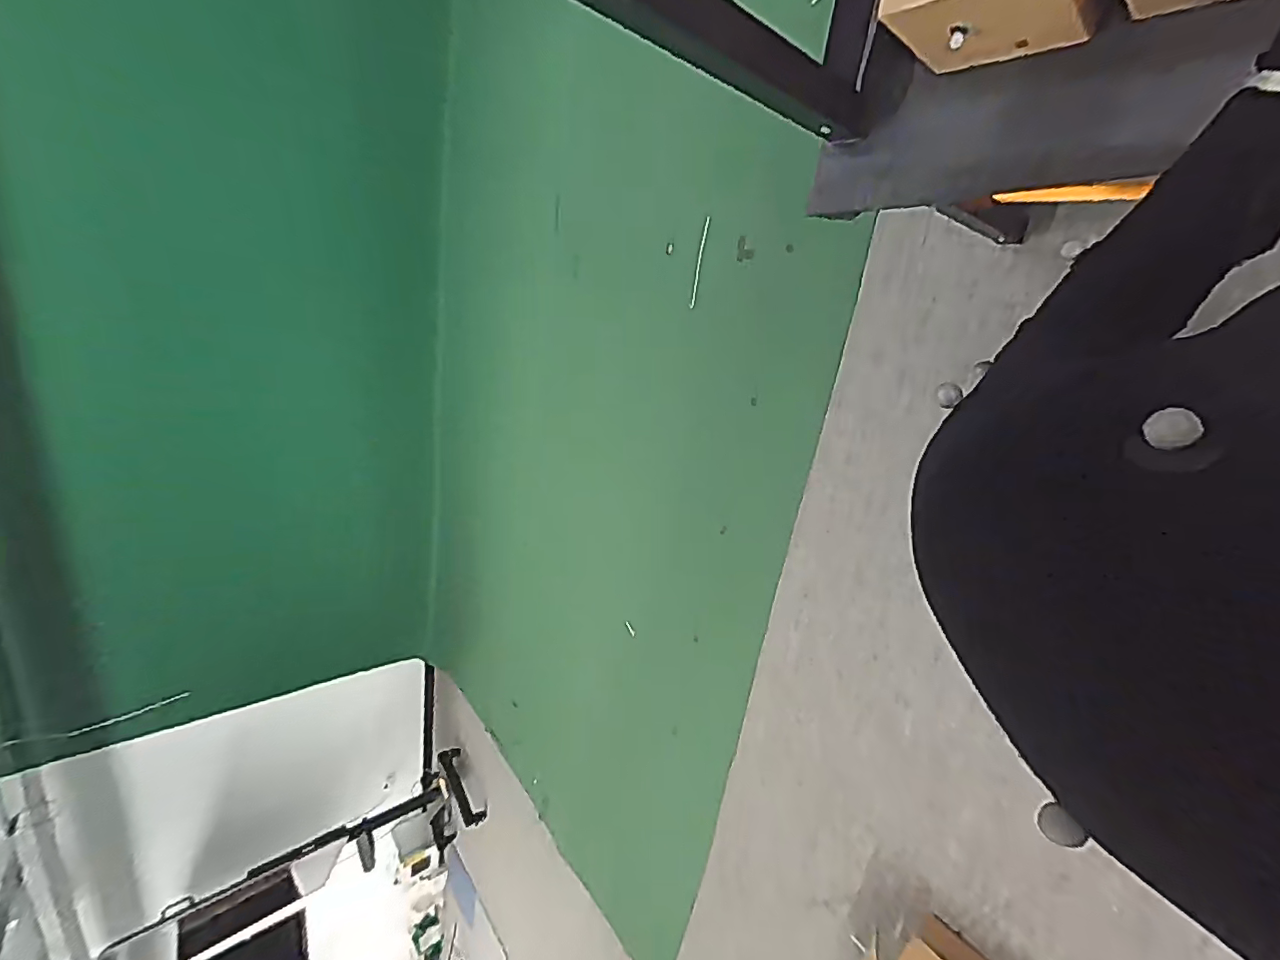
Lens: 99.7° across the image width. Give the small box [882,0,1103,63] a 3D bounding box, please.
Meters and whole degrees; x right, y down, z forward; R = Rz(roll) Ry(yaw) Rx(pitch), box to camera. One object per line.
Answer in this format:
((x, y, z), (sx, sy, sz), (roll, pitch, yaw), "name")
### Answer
((0.389, -0.575, 0.566), (0.168, 0.176, 0.179), (26, 114, 45), "small box")
